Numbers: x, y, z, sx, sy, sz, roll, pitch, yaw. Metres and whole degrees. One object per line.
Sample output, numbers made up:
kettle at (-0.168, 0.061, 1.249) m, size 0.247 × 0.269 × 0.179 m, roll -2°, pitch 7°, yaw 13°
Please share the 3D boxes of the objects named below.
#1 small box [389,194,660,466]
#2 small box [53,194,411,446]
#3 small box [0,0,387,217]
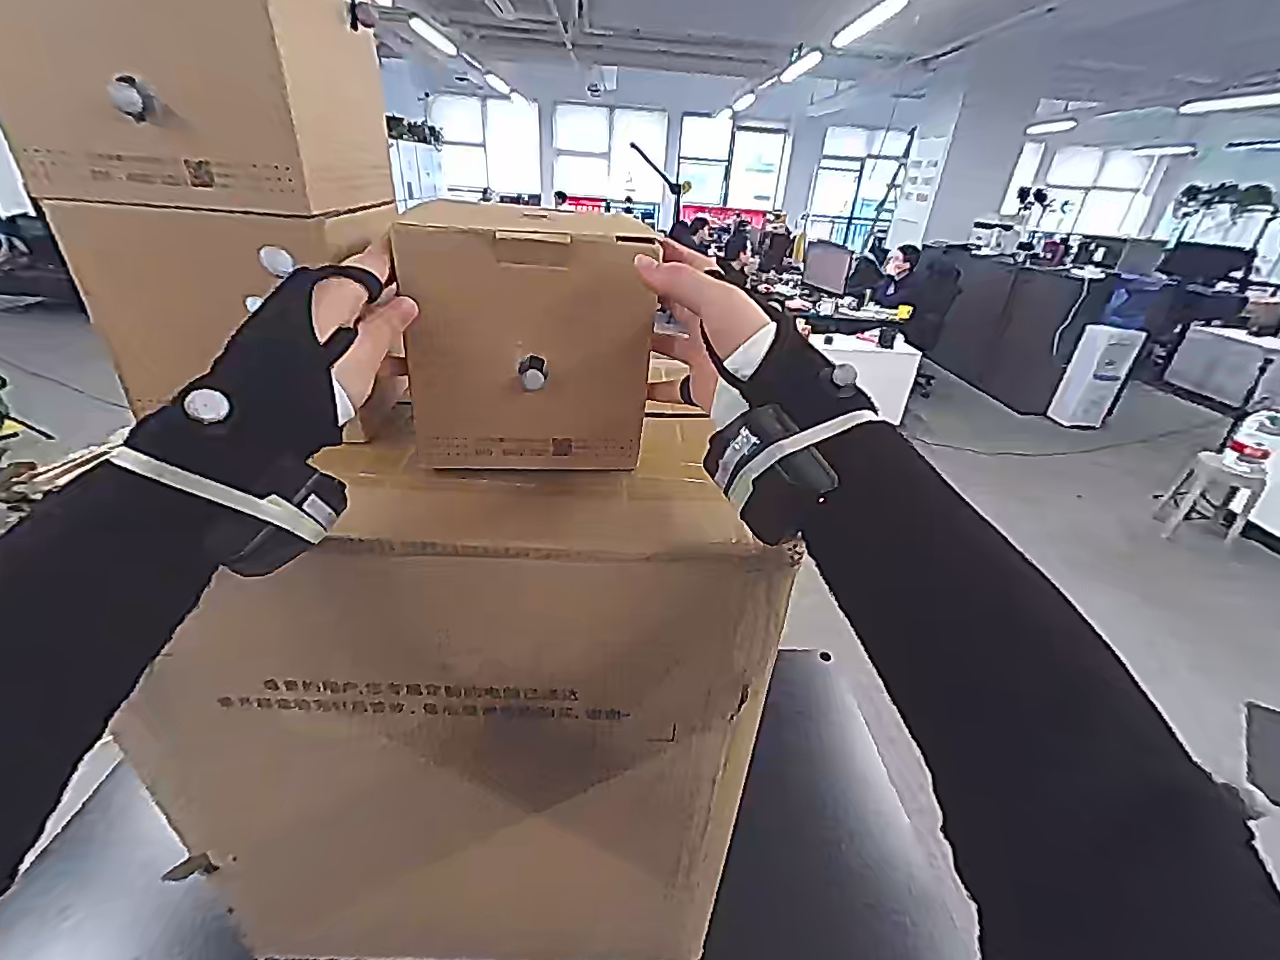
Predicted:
small box at (-0.086, -0.122, 0.436) m, size 0.168 × 0.176 × 0.179 m, roll 1°, pitch 31°, yaw -11°
small box at (-0.299, -0.142, 0.454) m, size 0.168 × 0.176 × 0.179 m, roll 0°, pitch 31°, yaw -8°
small box at (-0.289, -0.284, 0.370) m, size 0.168 × 0.176 × 0.179 m, roll 1°, pitch 30°, yaw -5°
